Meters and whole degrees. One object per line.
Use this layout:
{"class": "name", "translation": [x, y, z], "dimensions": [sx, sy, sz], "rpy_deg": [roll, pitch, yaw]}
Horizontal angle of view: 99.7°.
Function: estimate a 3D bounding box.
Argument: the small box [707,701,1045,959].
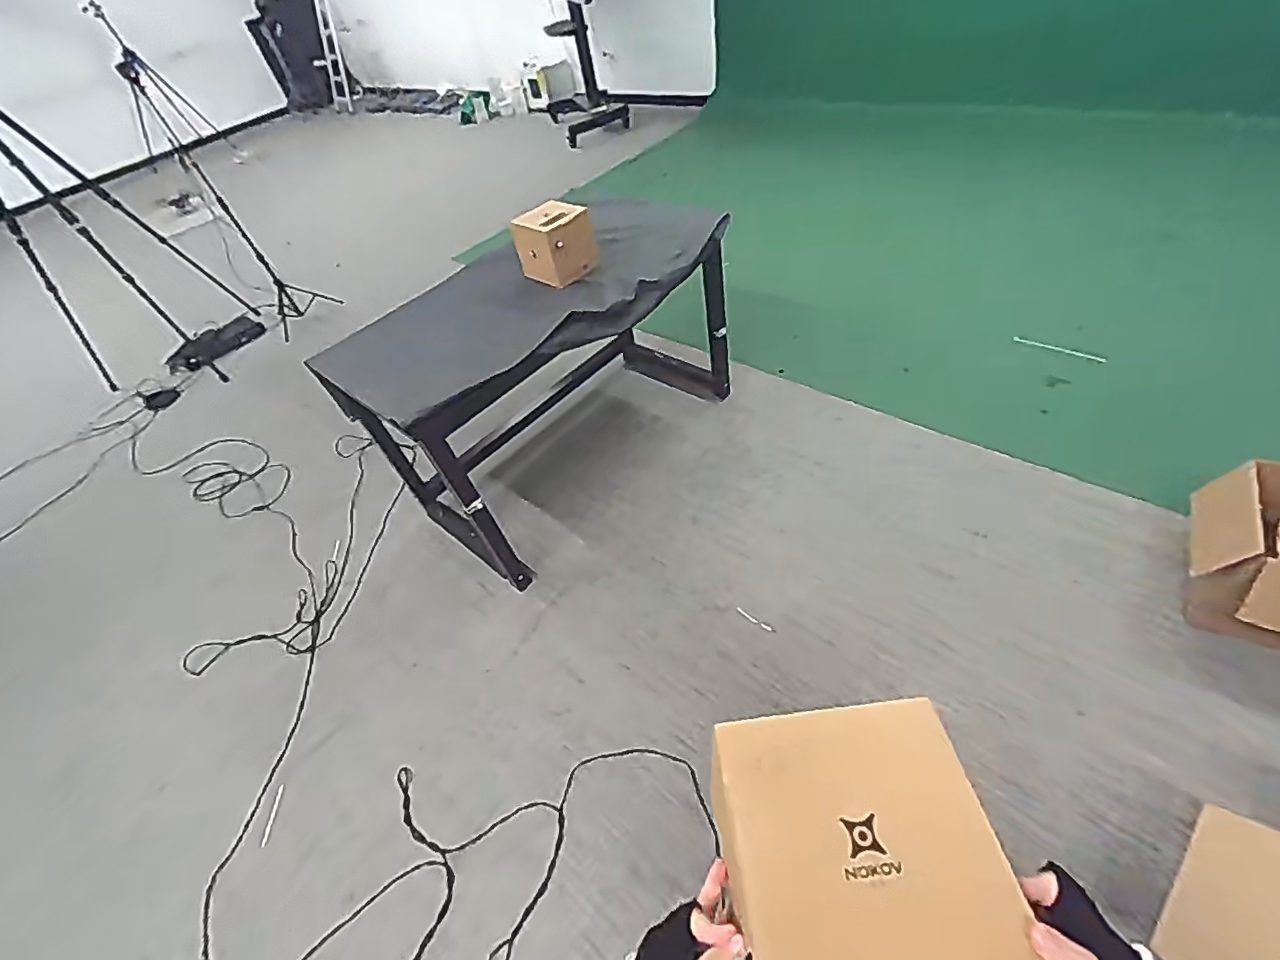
{"class": "small box", "translation": [0.144, 0.293, 0.400], "dimensions": [0.168, 0.176, 0.179], "rpy_deg": [-8, 44, -1]}
